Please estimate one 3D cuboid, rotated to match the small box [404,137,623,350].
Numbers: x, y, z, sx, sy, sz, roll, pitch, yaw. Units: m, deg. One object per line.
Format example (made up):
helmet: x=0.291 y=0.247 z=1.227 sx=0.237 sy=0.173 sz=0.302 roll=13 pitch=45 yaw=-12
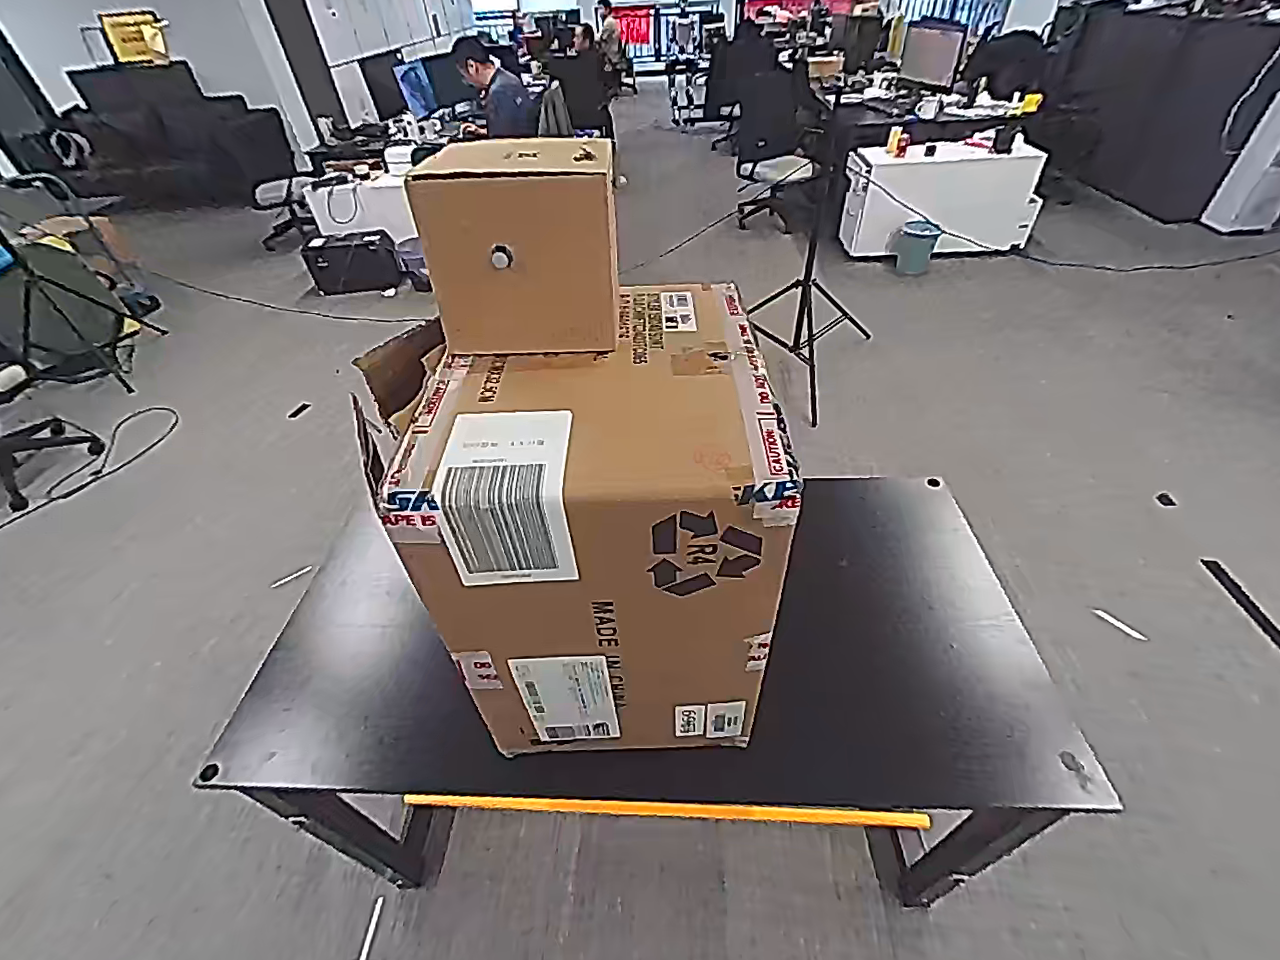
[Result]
small box: x=-0.112 y=-0.246 z=0.567 sx=0.179 sy=0.176 sz=0.168 roll=-2 pitch=41 yaw=0
